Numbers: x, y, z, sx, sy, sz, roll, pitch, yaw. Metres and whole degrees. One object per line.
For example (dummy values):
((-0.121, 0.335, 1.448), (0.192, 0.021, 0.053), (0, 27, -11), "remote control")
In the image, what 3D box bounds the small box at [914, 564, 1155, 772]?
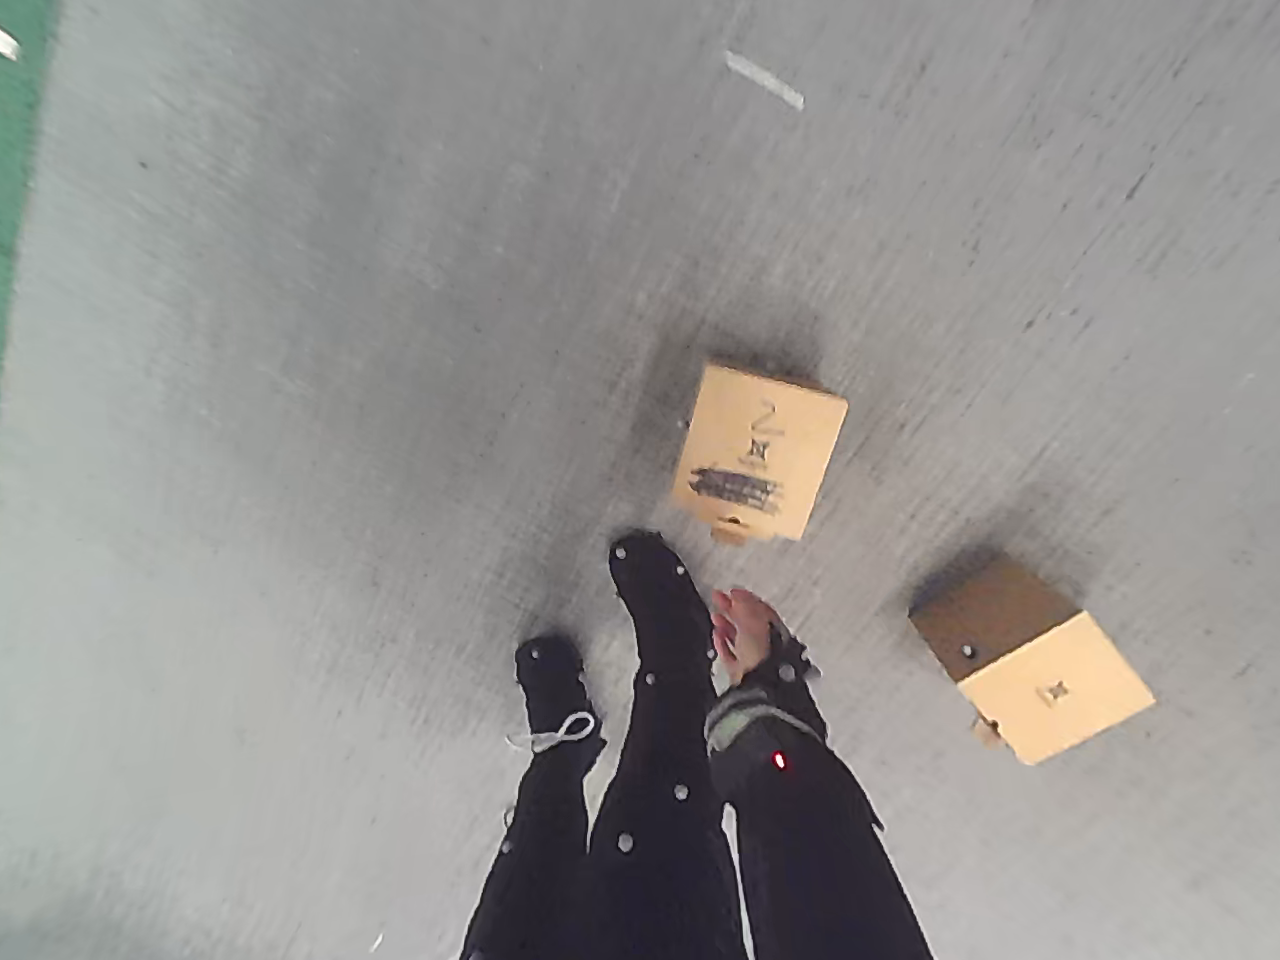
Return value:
((0.523, 0.247, 0.747), (0.179, 0.176, 0.168), (-40, 99, 16), "small box")
